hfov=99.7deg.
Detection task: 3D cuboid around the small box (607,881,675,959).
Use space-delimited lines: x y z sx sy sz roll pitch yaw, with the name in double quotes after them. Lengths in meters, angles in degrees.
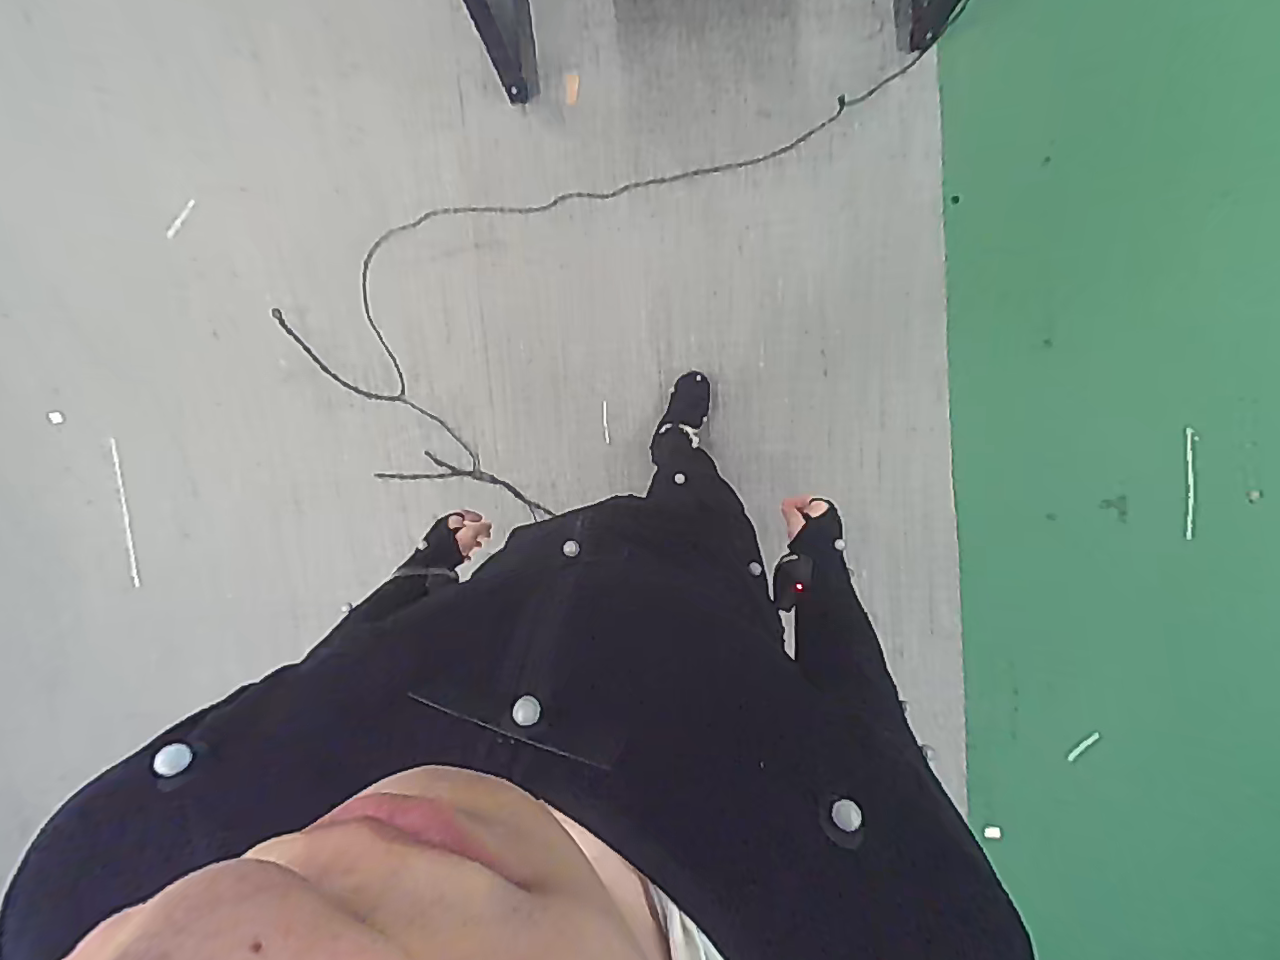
0.006 1.178 1.386 0.168 0.176 0.179 -3 94 1 "small box"
